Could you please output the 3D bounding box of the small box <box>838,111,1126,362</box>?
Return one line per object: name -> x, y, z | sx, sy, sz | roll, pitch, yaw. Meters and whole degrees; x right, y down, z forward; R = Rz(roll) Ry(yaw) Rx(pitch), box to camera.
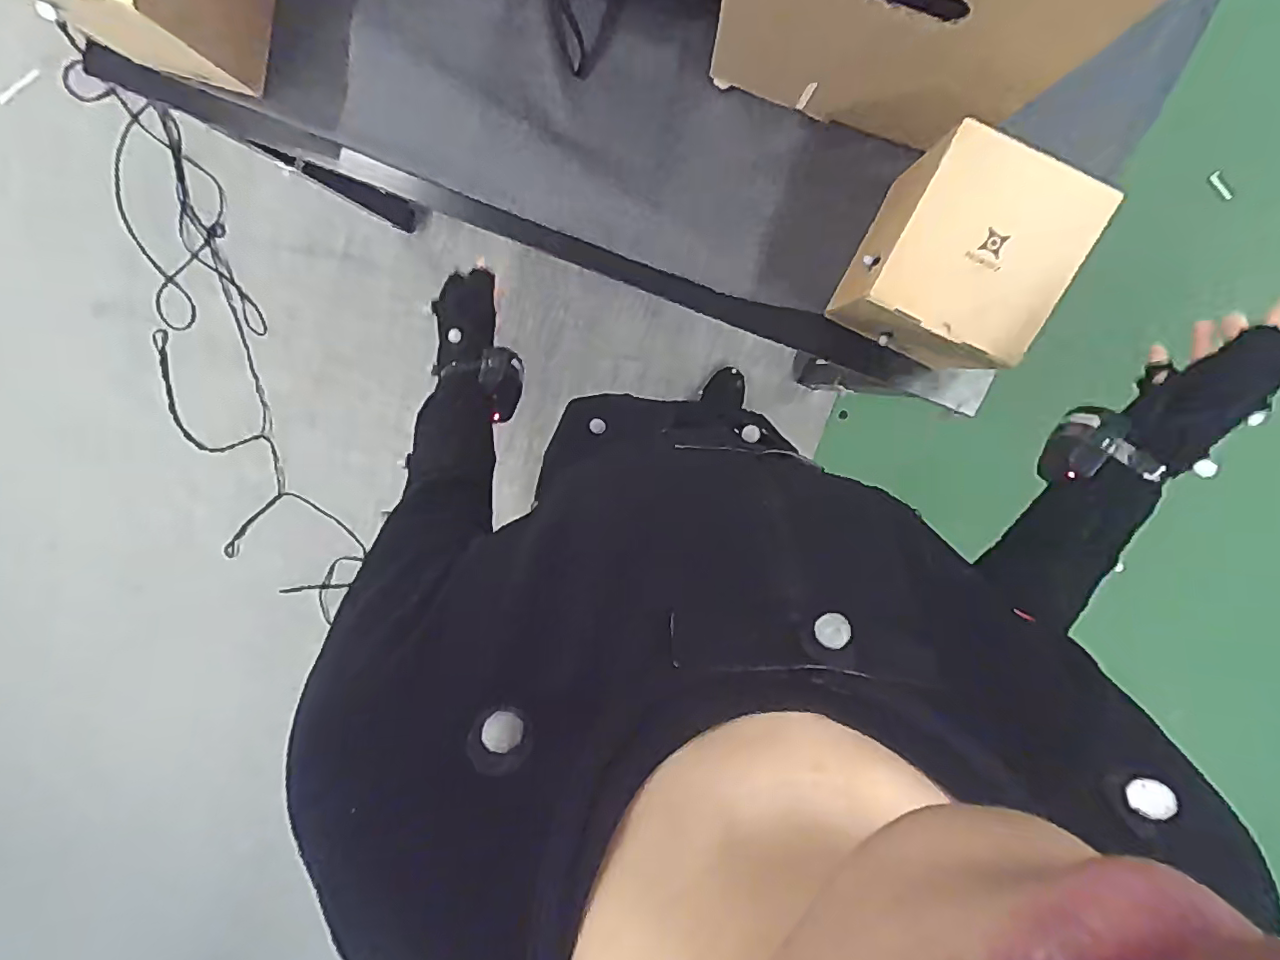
small box -> 0.343, -0.243, 0.588 | 0.168, 0.176, 0.179 | 26, 104, -1
